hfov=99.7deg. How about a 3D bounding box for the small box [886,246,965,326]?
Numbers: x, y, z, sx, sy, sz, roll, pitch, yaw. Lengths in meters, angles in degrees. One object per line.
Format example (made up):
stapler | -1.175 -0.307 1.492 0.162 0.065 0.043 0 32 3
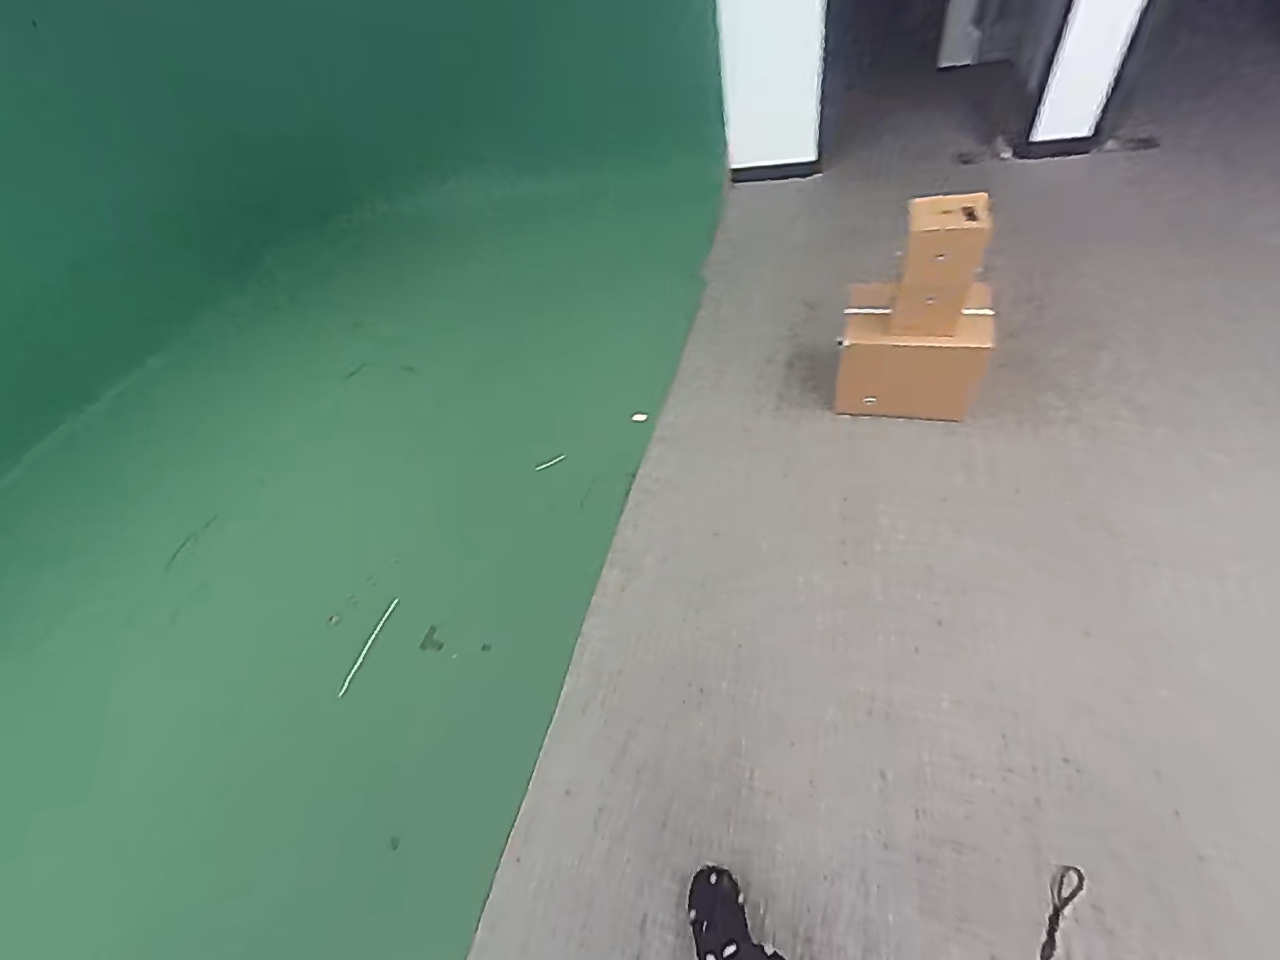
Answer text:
small box | 0.815 -0.561 1.560 0.179 0.176 0.168 5 56 18

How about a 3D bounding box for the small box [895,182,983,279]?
small box | 0.782 -0.653 1.428 0.179 0.176 0.168 4 56 21
